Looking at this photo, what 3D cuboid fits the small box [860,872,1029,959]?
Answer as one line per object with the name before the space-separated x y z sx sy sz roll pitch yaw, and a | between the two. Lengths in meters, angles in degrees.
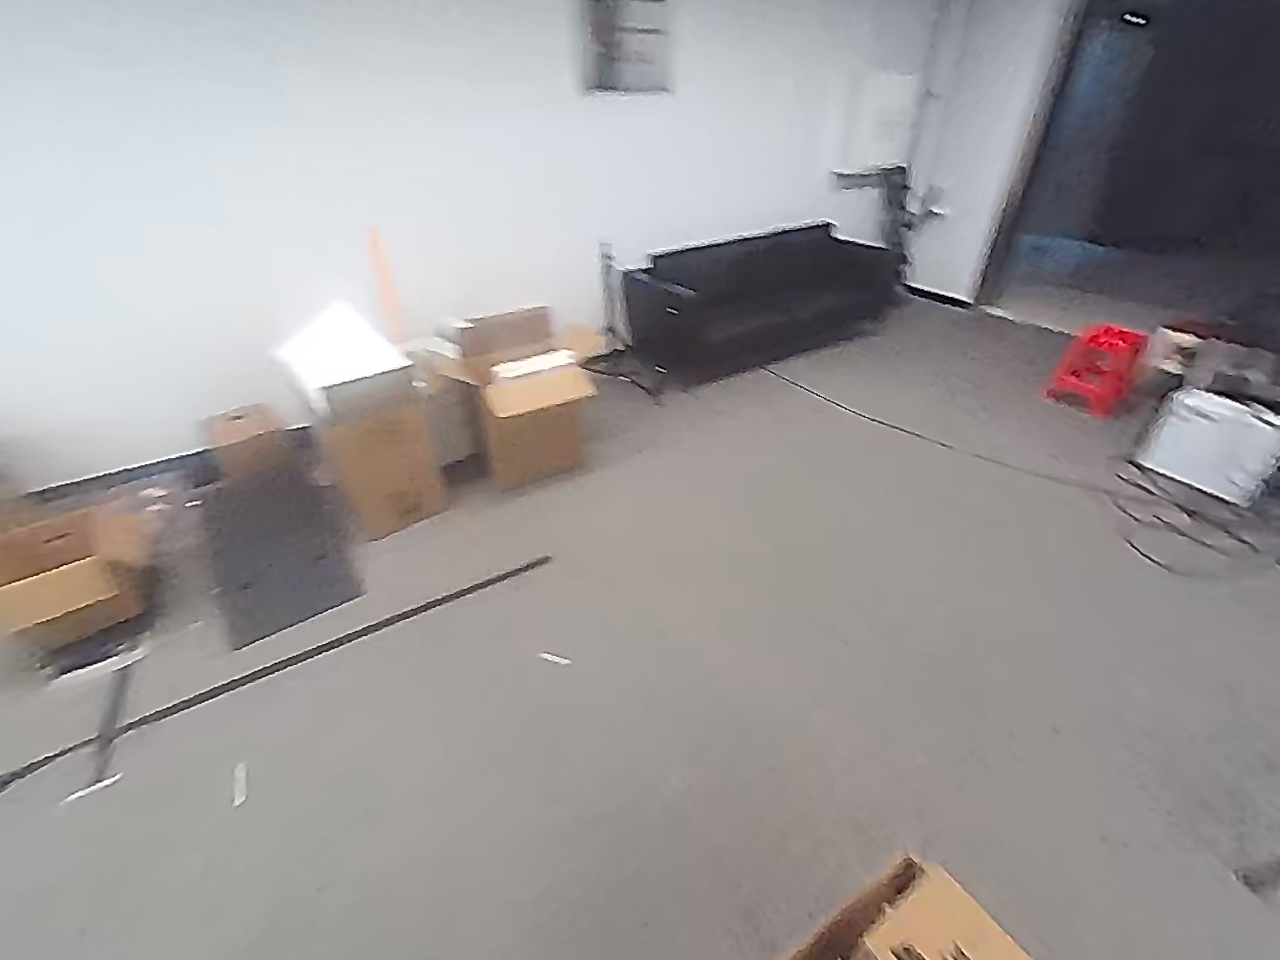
small box | 0.423 0.713 0.754 0.179 0.176 0.168 -19 37 -26
